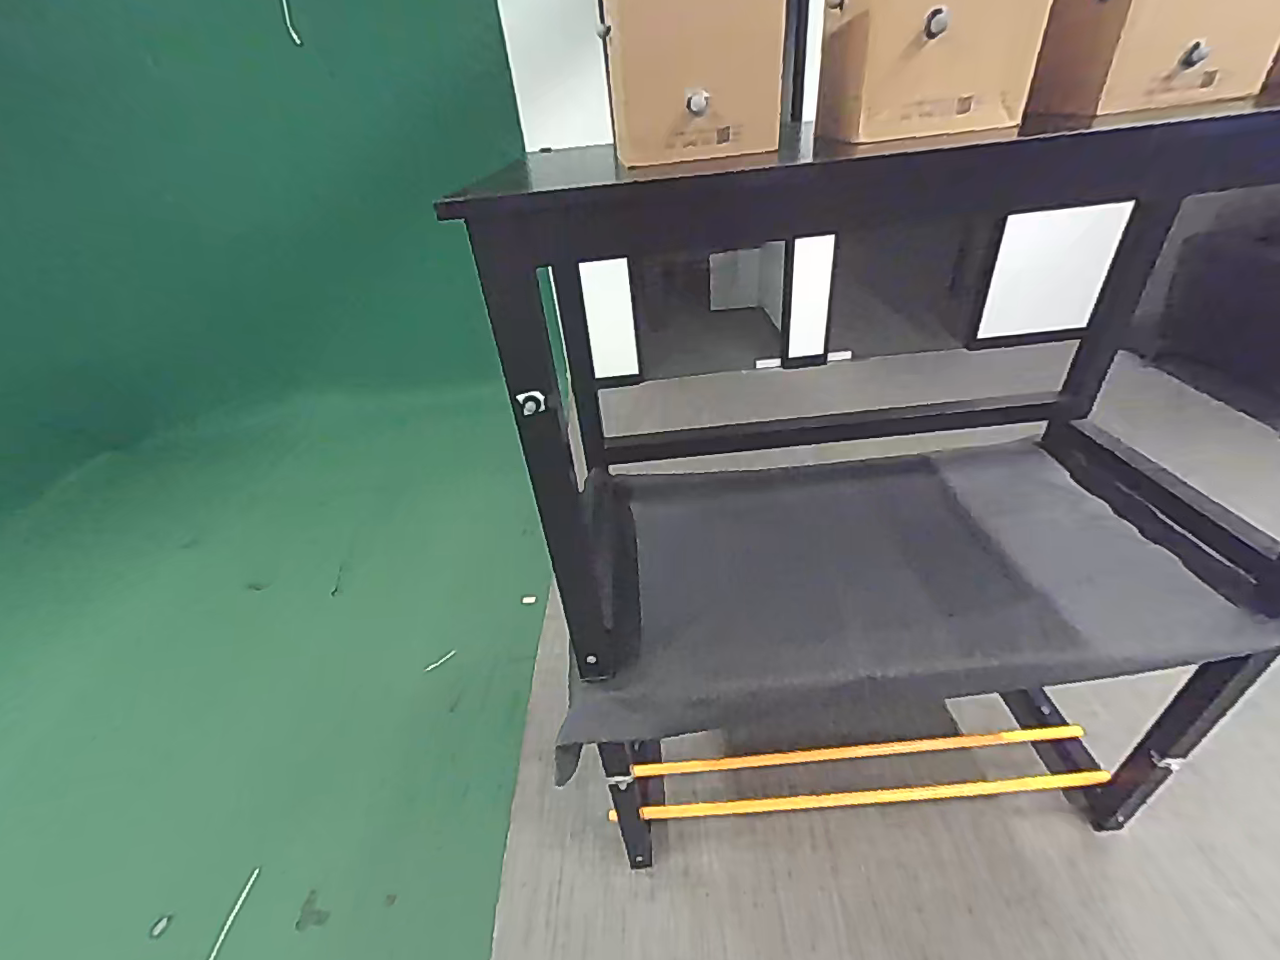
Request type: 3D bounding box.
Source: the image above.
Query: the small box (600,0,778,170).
[{"bbox_3d":[0.047,-0.452,0.602,0.168,0.176,0.179,-8,35,-1],"label":"small box"}]

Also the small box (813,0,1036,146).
[{"bbox_3d":[0.290,-0.463,0.575,0.168,0.176,0.179,-5,34,4],"label":"small box"}]
